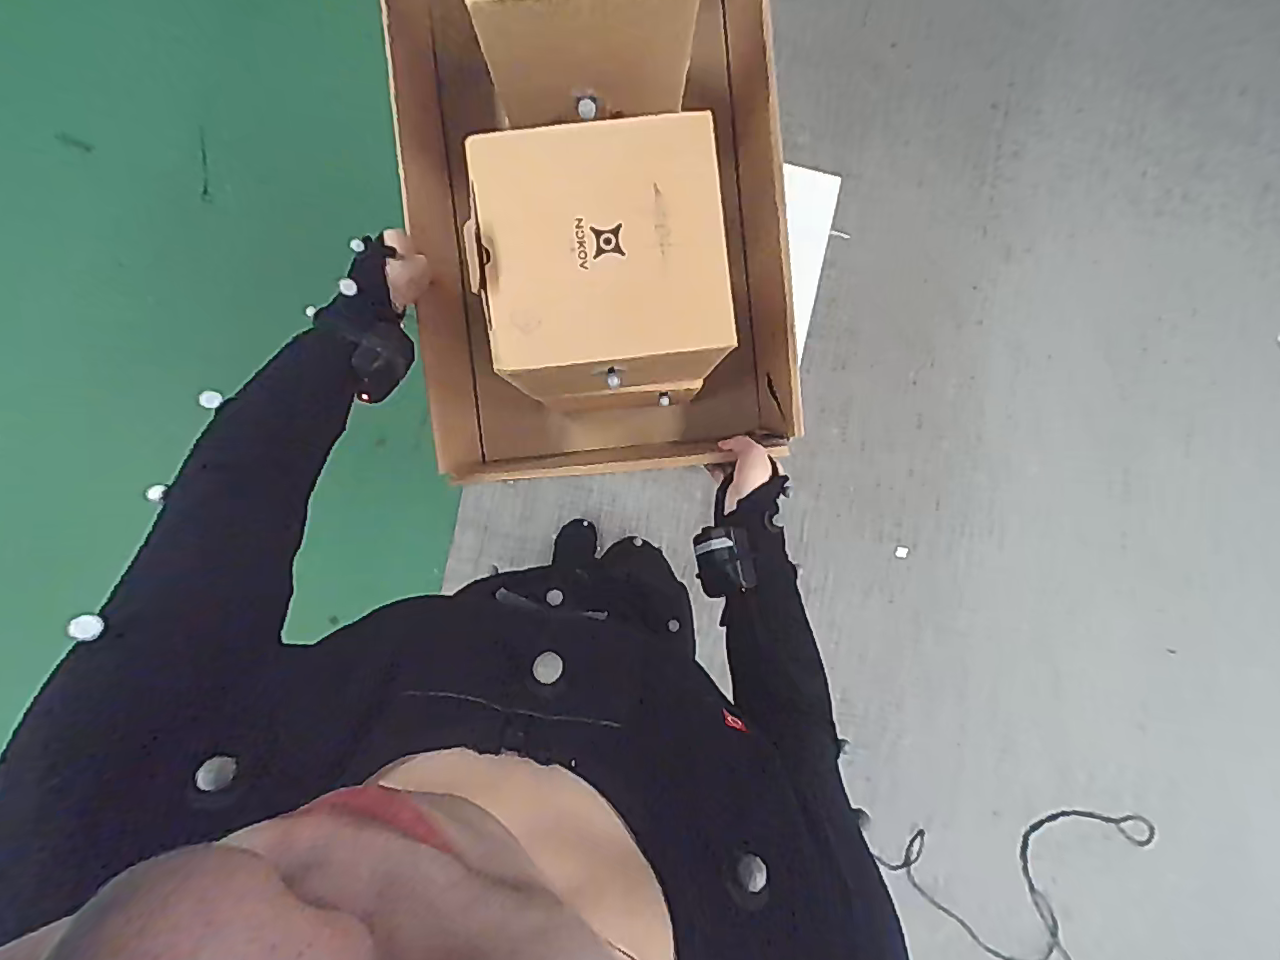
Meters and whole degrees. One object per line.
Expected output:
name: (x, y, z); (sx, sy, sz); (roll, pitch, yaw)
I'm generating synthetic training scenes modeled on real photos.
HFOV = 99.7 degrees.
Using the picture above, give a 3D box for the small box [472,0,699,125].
small box: (-0.048, -0.427, 0.440); (0.168, 0.176, 0.179); (-5, 96, -1)

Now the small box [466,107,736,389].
small box: (-0.028, -0.175, 0.460); (0.179, 0.176, 0.168); (-8, 95, -2)
